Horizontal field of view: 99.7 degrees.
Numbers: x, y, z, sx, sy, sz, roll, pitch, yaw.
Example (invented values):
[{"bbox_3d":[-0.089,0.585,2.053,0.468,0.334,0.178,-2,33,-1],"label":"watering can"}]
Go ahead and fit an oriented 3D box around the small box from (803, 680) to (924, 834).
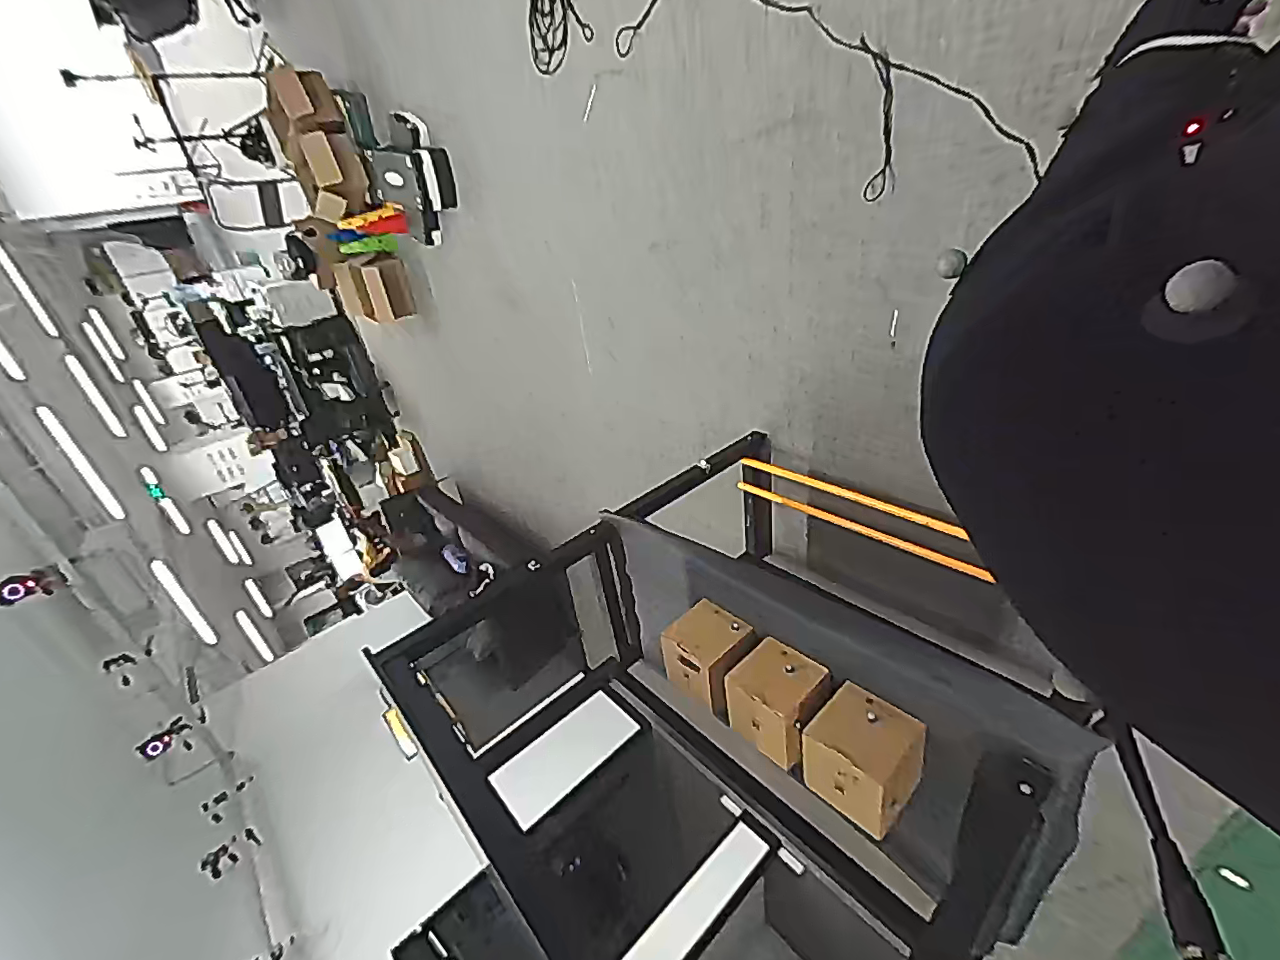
[{"bbox_3d":[0.446,0.543,1.080,0.168,0.176,0.179,21,131,45],"label":"small box"}]
